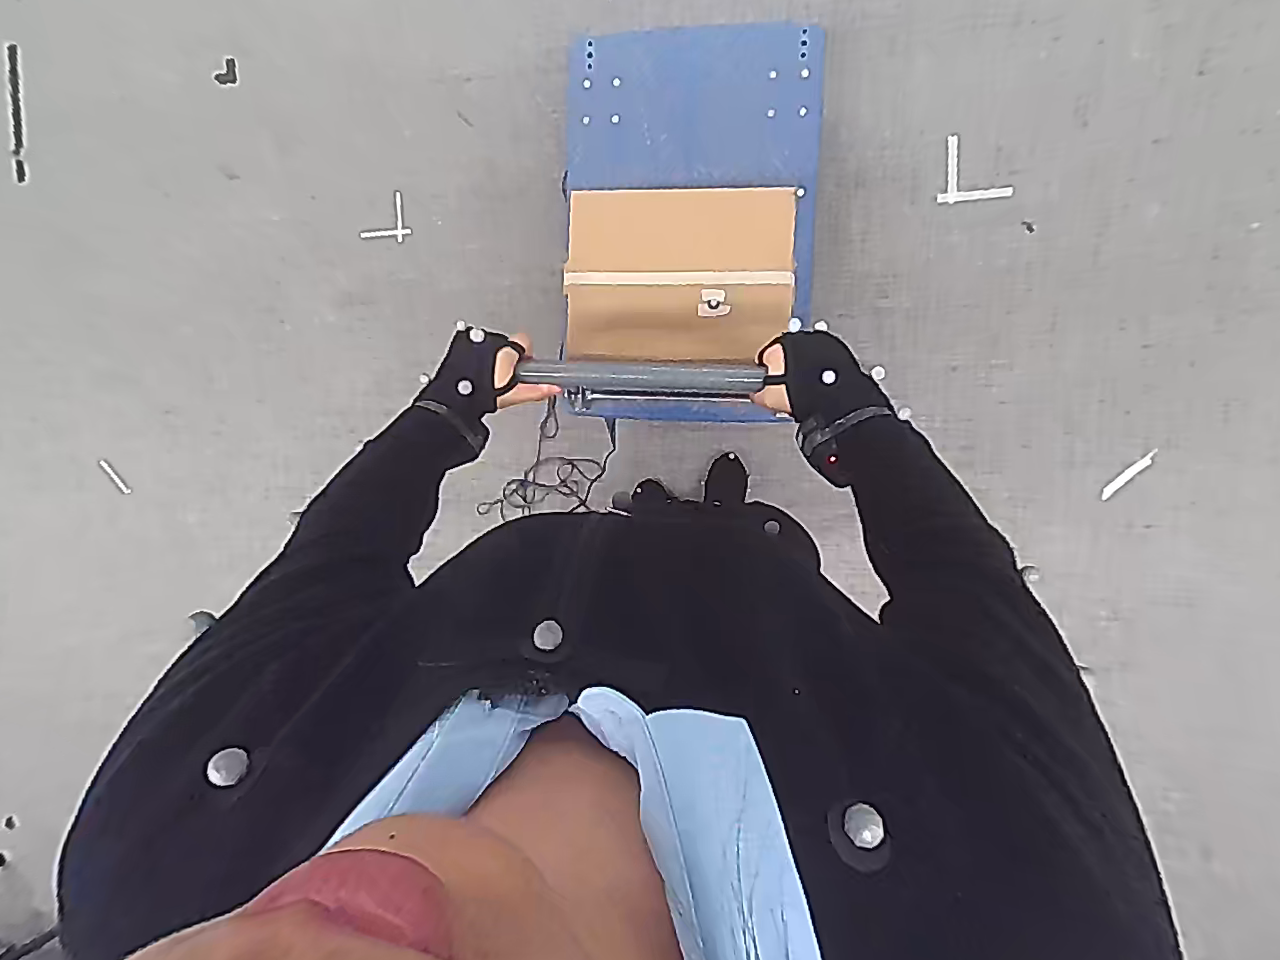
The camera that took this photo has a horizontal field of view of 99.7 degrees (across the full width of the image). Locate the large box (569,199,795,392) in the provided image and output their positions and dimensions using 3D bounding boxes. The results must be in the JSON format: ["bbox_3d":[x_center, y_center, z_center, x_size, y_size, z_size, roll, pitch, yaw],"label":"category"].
[{"bbox_3d":[0.081,-0.350,1.113,0.408,0.320,0.320,2,95,6],"label":"large box"}]
